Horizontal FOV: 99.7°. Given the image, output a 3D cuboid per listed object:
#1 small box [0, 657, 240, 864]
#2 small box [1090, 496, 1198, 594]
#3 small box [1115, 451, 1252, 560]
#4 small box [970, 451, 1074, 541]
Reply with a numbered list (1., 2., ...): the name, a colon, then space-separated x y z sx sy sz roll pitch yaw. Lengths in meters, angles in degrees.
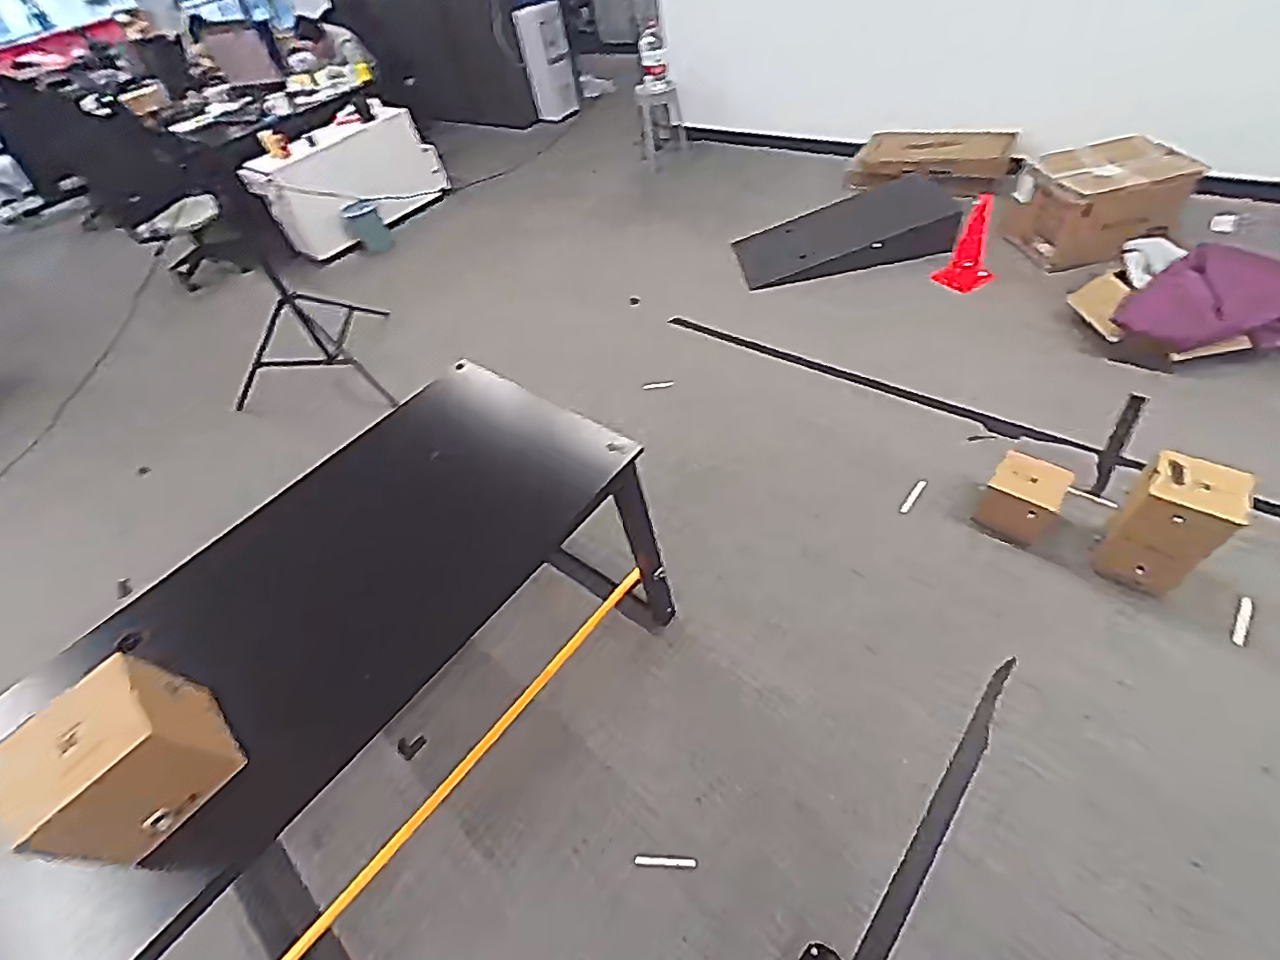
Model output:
1. small box: -0.701 0.382 0.730 0.179 0.176 0.168 28 62 30
2. small box: 1.340 0.170 1.433 0.168 0.176 0.179 26 61 29
3. small box: 1.306 0.064 1.310 0.179 0.176 0.168 26 60 29
4. small box: 1.107 0.053 1.578 0.179 0.176 0.168 29 61 32
